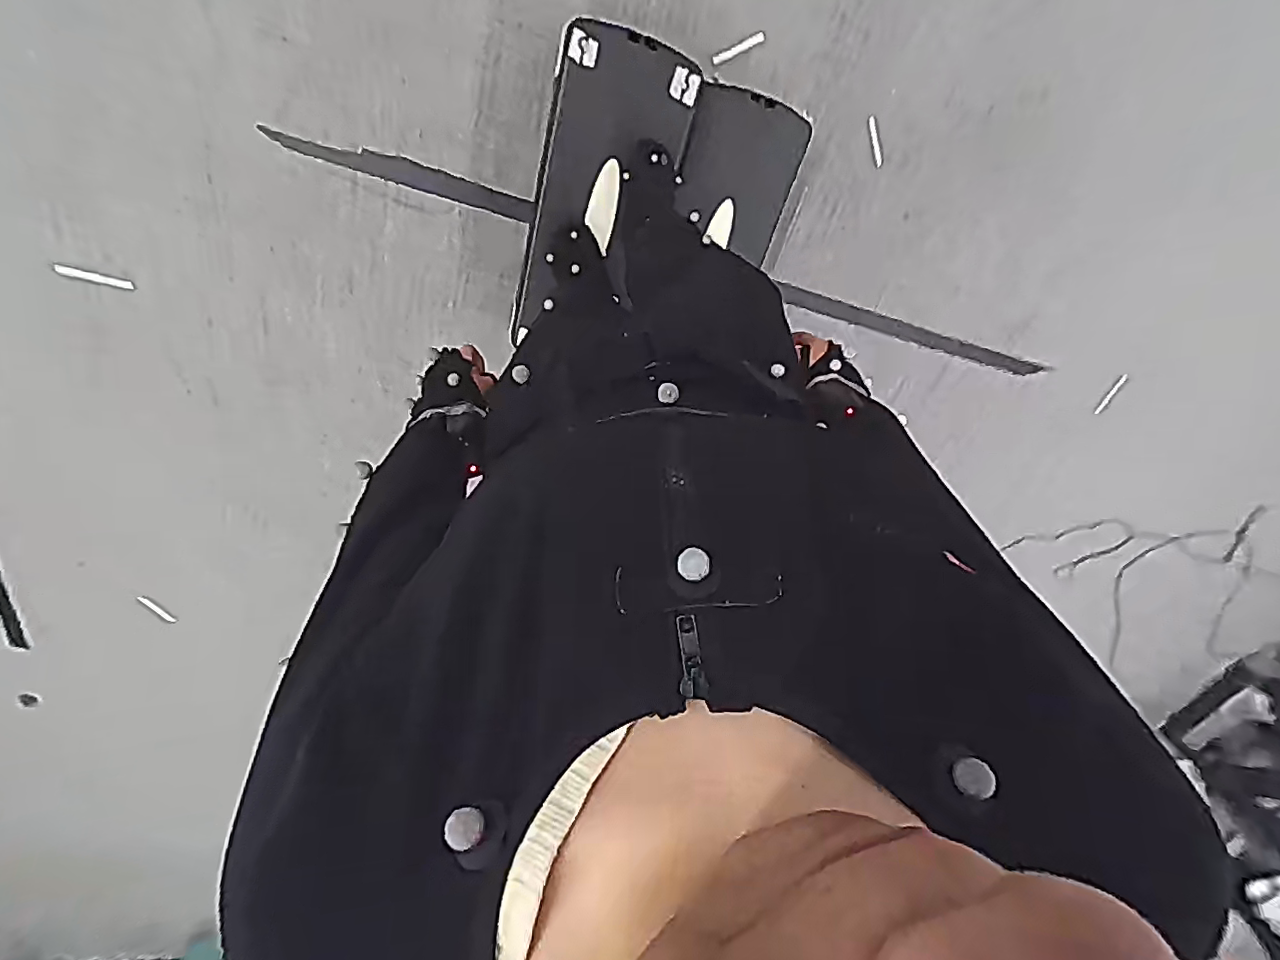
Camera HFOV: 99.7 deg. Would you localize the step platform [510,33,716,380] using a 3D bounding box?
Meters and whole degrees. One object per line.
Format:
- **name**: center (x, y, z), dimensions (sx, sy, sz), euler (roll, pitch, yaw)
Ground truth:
- **step platform**: center (-0.085, -0.579, 1.242), dimensions (0.286, 0.204, 0.684), euler (15, 116, -16)
